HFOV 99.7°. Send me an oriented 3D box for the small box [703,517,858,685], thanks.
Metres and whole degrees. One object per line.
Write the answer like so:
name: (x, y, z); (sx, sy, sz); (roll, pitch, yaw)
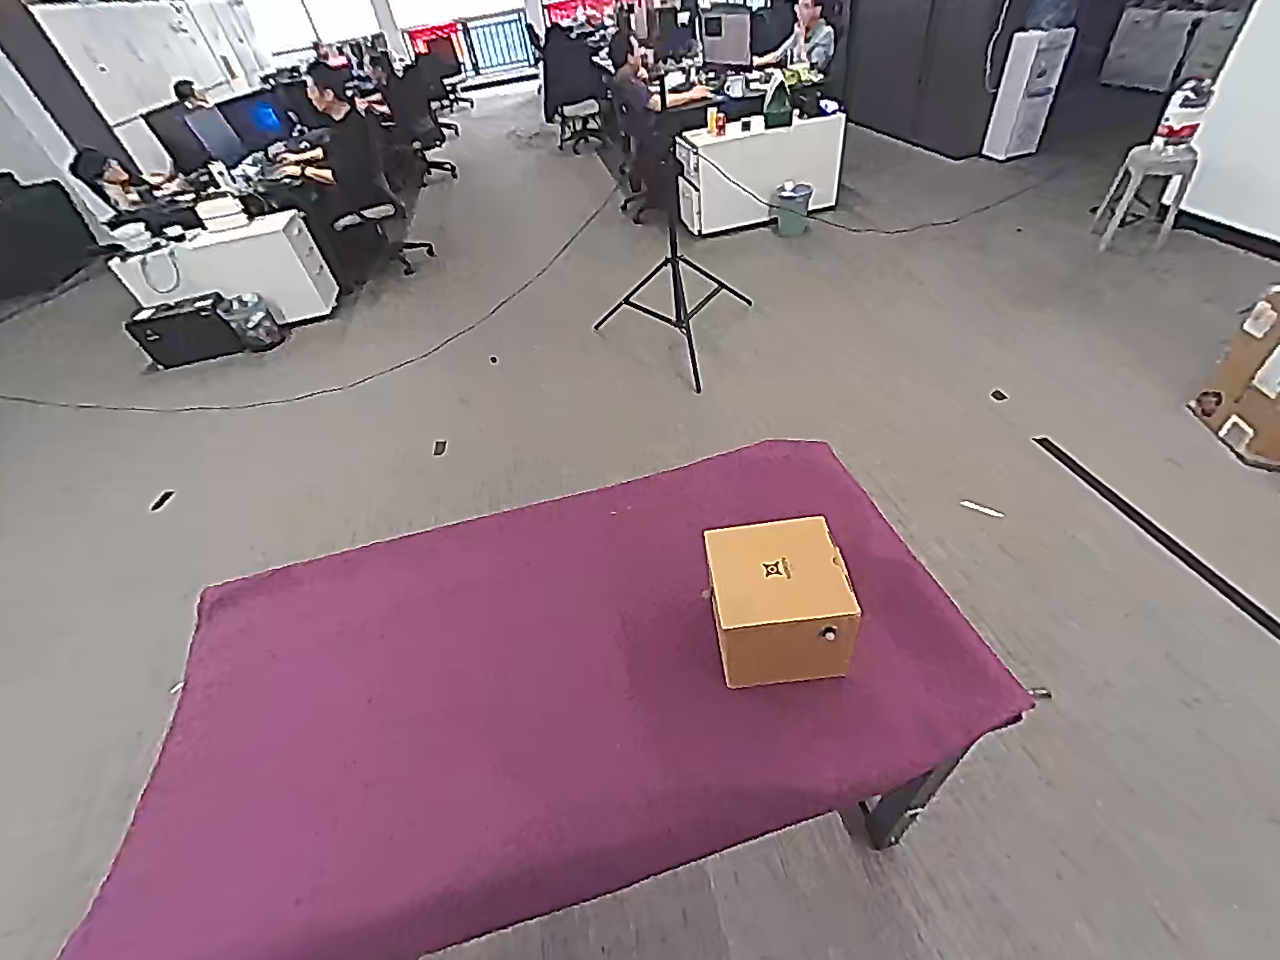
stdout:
small box: (0.194, 0.178, 0.782); (0.179, 0.176, 0.168); (-8, 43, 3)
